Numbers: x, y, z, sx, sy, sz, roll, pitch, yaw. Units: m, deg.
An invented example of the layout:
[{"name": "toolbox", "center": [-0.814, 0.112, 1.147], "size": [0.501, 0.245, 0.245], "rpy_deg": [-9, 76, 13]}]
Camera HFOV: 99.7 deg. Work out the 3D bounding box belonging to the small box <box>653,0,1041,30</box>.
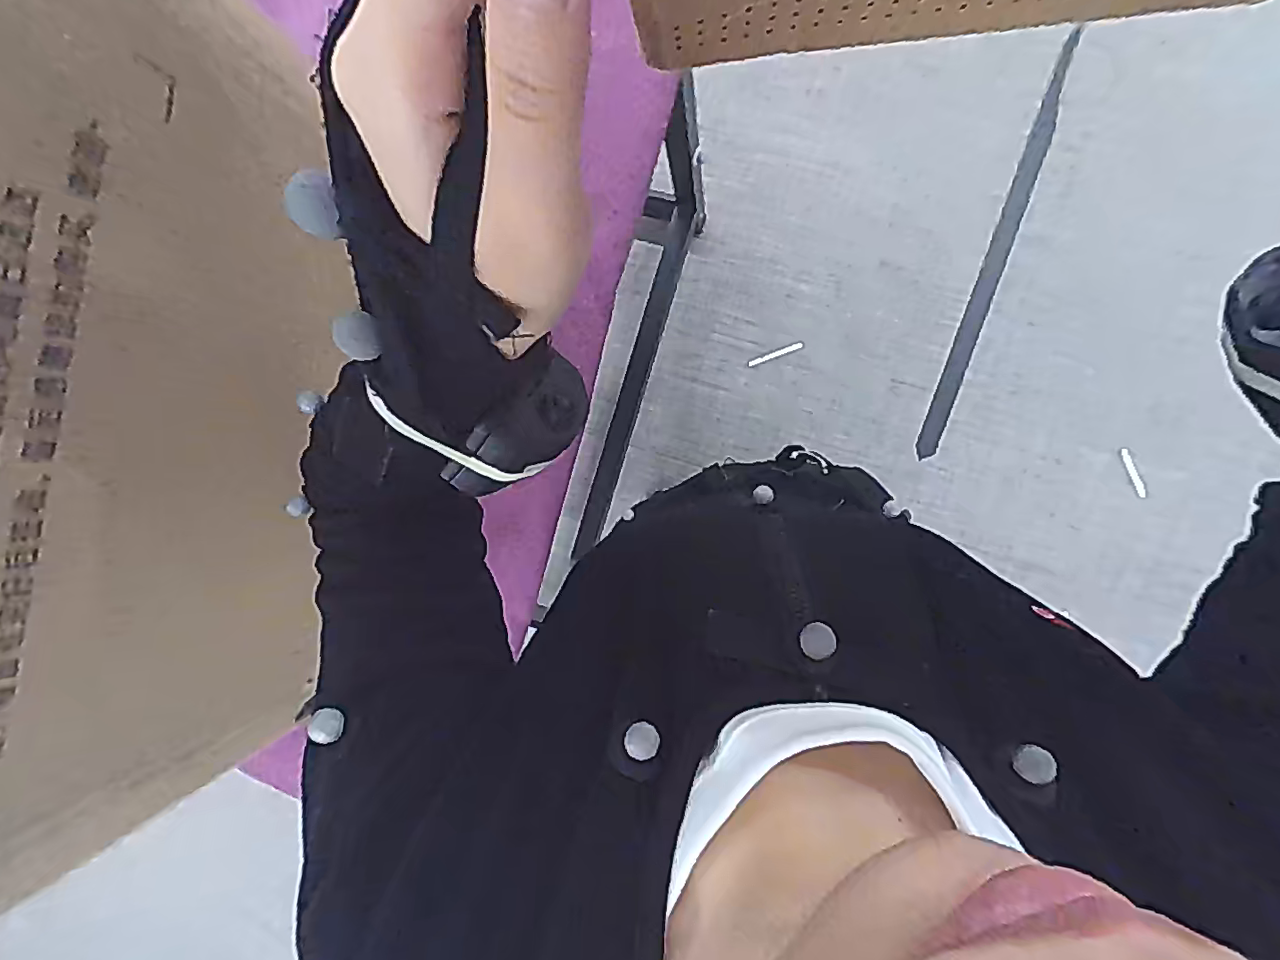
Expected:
[{"name": "small box", "center": [0.073, -0.189, 0.060], "size": [0.179, 0.176, 0.168], "rpy_deg": [-1, 108, 7]}]
